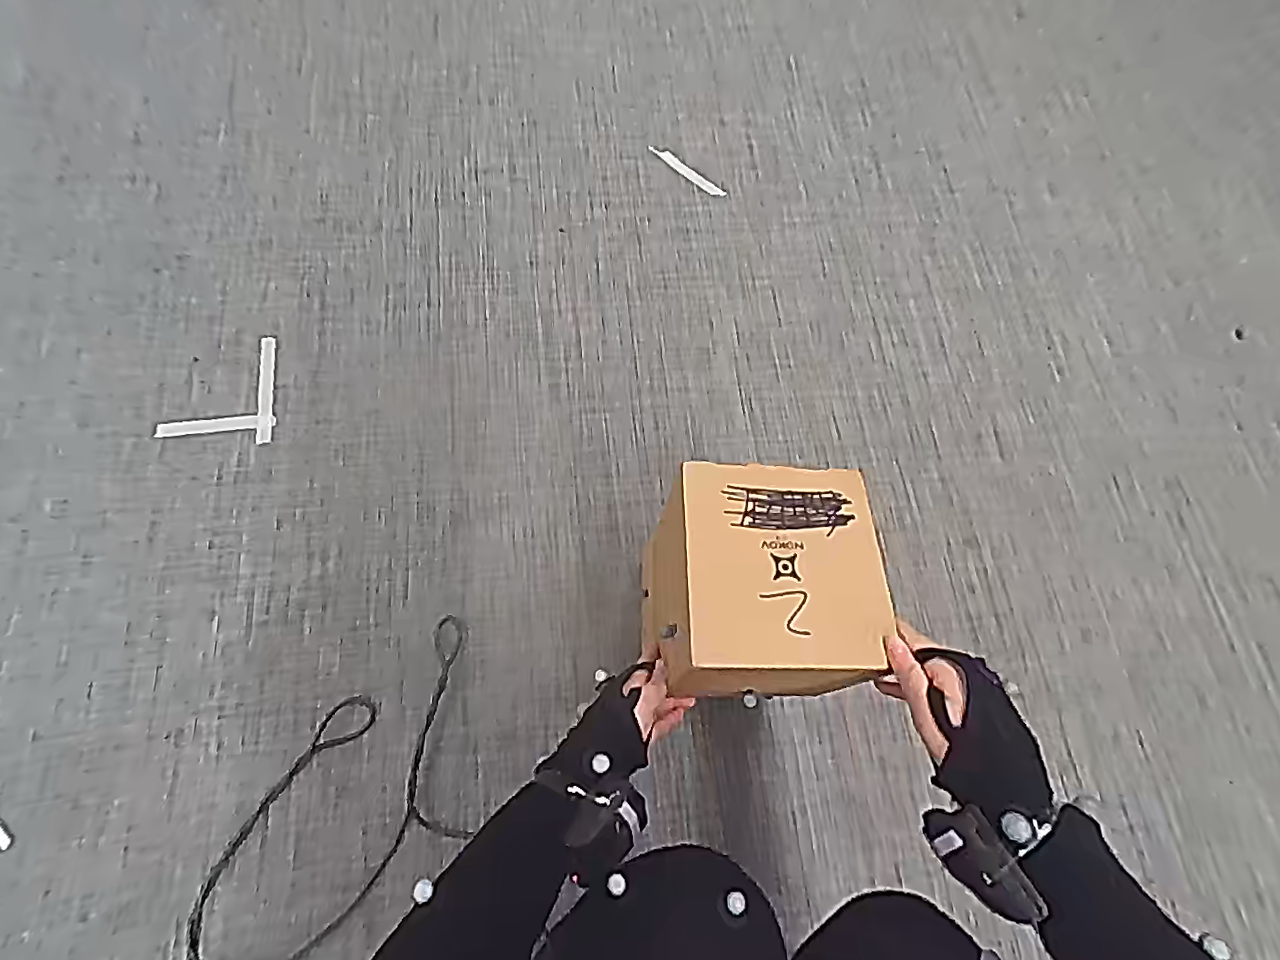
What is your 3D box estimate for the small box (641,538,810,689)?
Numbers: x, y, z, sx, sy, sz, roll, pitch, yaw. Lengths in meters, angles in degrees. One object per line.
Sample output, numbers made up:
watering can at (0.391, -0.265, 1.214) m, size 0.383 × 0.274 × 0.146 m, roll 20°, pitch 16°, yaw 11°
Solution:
small box at (0.091, 0.172, 0.675) m, size 0.179 × 0.176 × 0.168 m, roll 1°, pitch 72°, yaw -4°
